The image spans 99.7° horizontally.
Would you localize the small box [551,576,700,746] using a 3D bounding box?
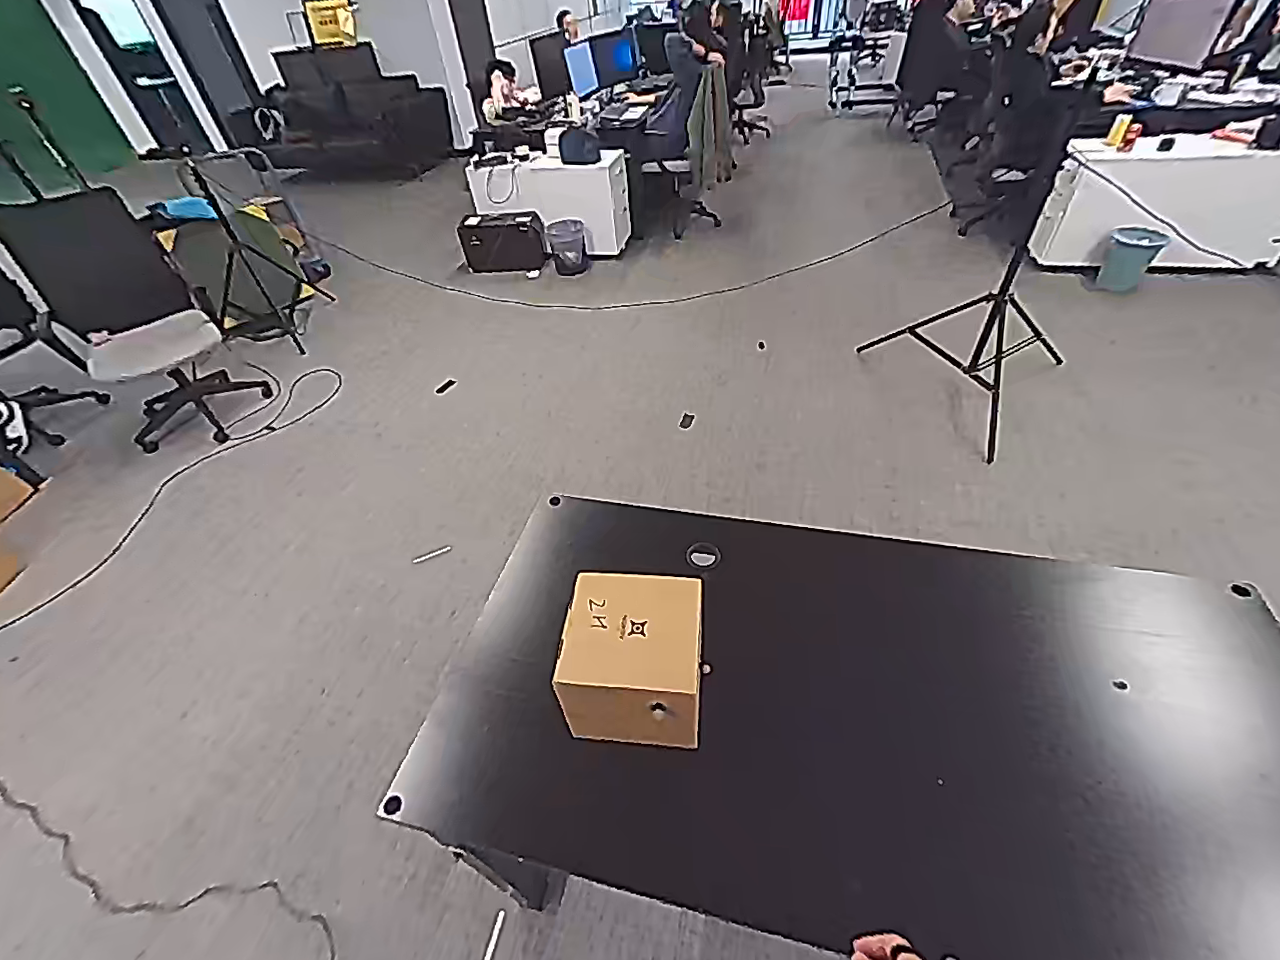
[{"bbox_3d":[-0.008,0.254,0.755,0.179,0.176,0.168,1,44,8],"label":"small box"}]
